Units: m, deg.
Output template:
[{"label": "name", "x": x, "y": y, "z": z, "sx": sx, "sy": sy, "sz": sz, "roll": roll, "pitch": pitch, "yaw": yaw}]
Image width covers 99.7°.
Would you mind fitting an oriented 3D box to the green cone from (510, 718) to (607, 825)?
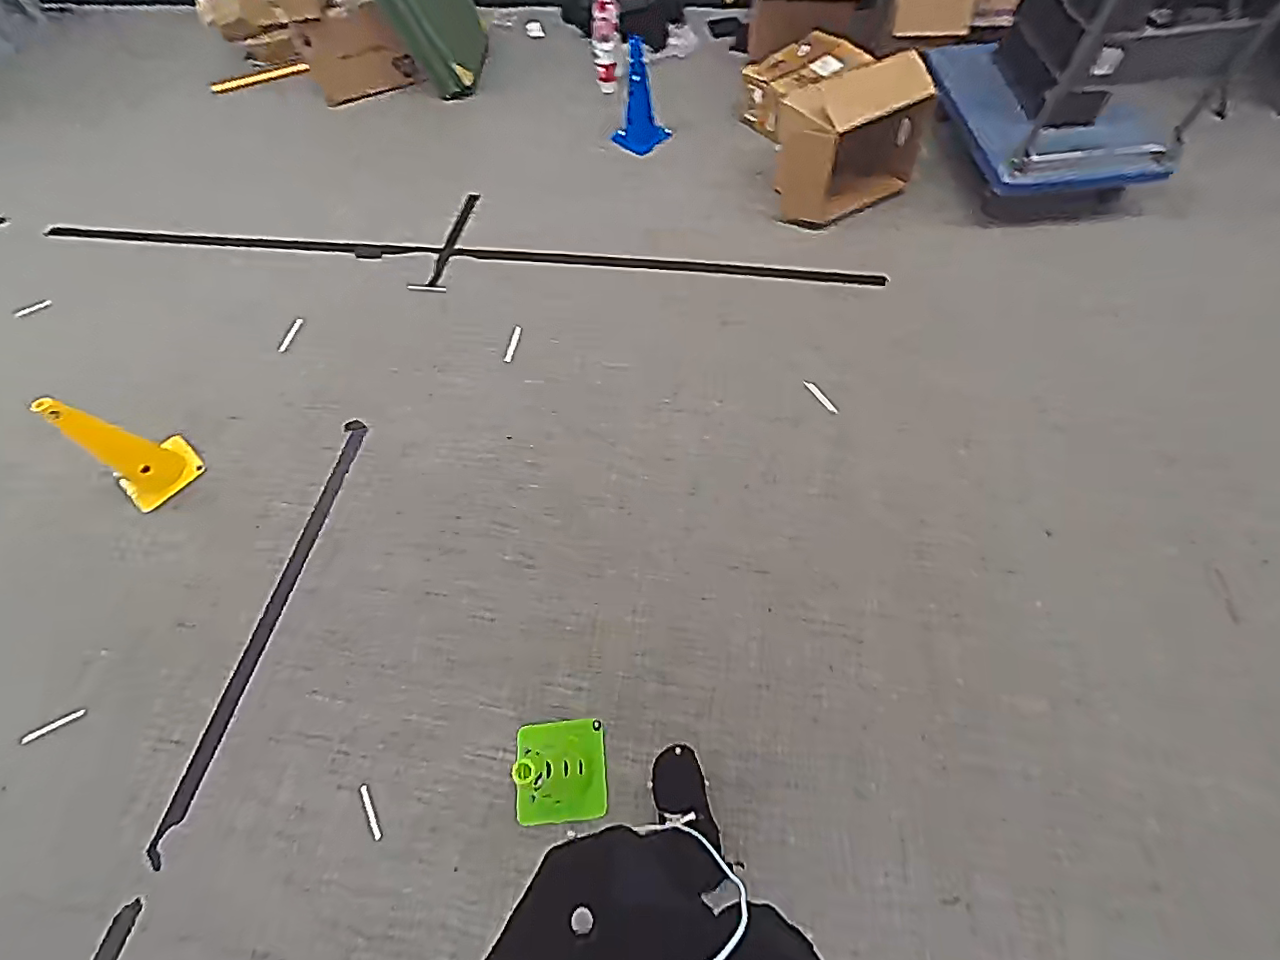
[{"label": "green cone", "x": -0.191, "y": 0.572, "z": 1.060, "sx": 0.200, "sy": 0.368, "sz": 0.202, "roll": -7, "pitch": 63, "yaw": 1}]
